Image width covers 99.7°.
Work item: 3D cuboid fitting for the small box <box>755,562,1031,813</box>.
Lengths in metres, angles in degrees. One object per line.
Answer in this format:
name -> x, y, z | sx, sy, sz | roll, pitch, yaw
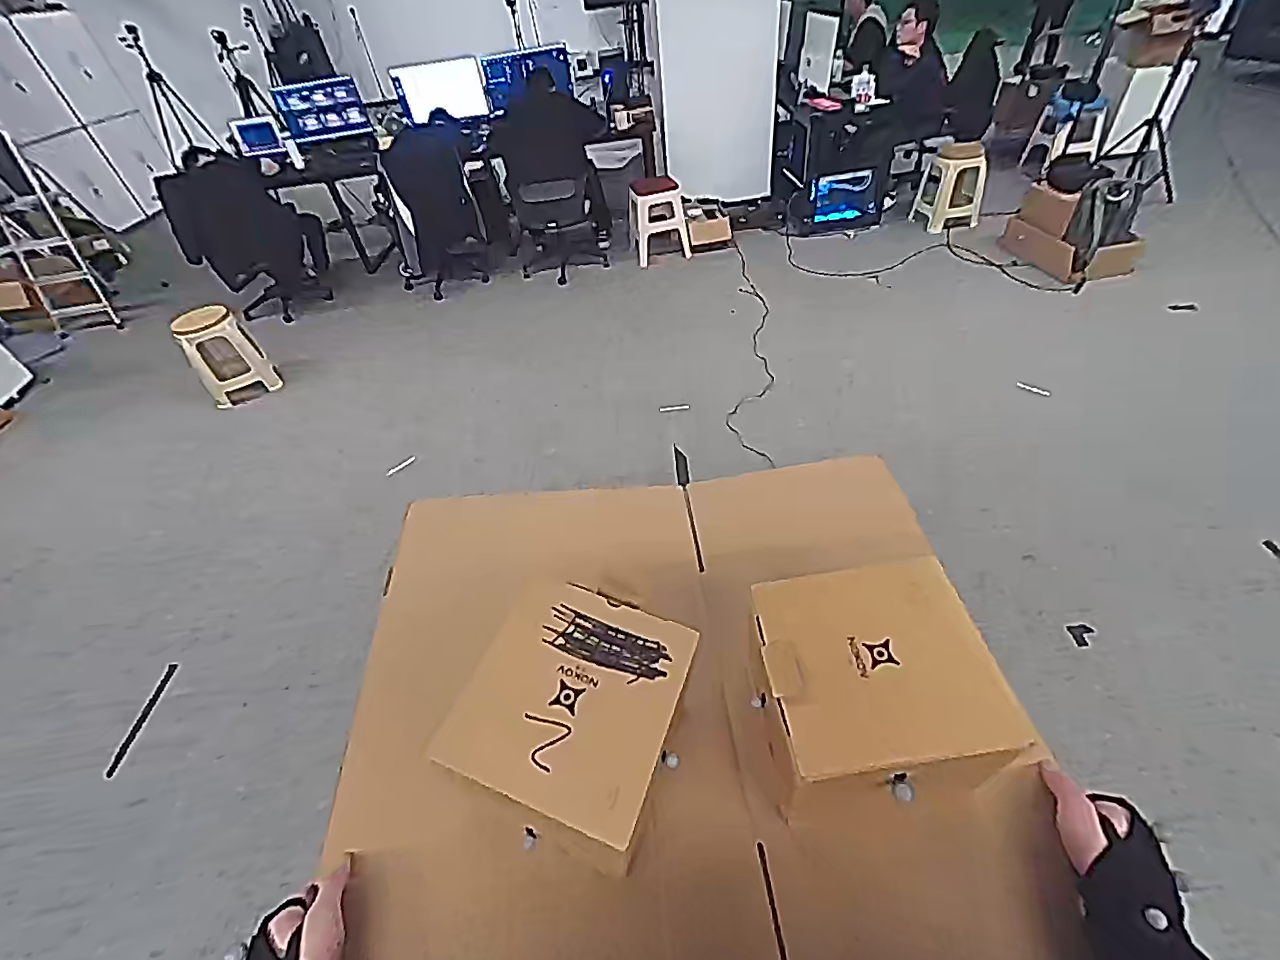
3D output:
small box -> 0.214, 0.203, 0.520 | 0.179, 0.176, 0.168 | -11, 48, 3
